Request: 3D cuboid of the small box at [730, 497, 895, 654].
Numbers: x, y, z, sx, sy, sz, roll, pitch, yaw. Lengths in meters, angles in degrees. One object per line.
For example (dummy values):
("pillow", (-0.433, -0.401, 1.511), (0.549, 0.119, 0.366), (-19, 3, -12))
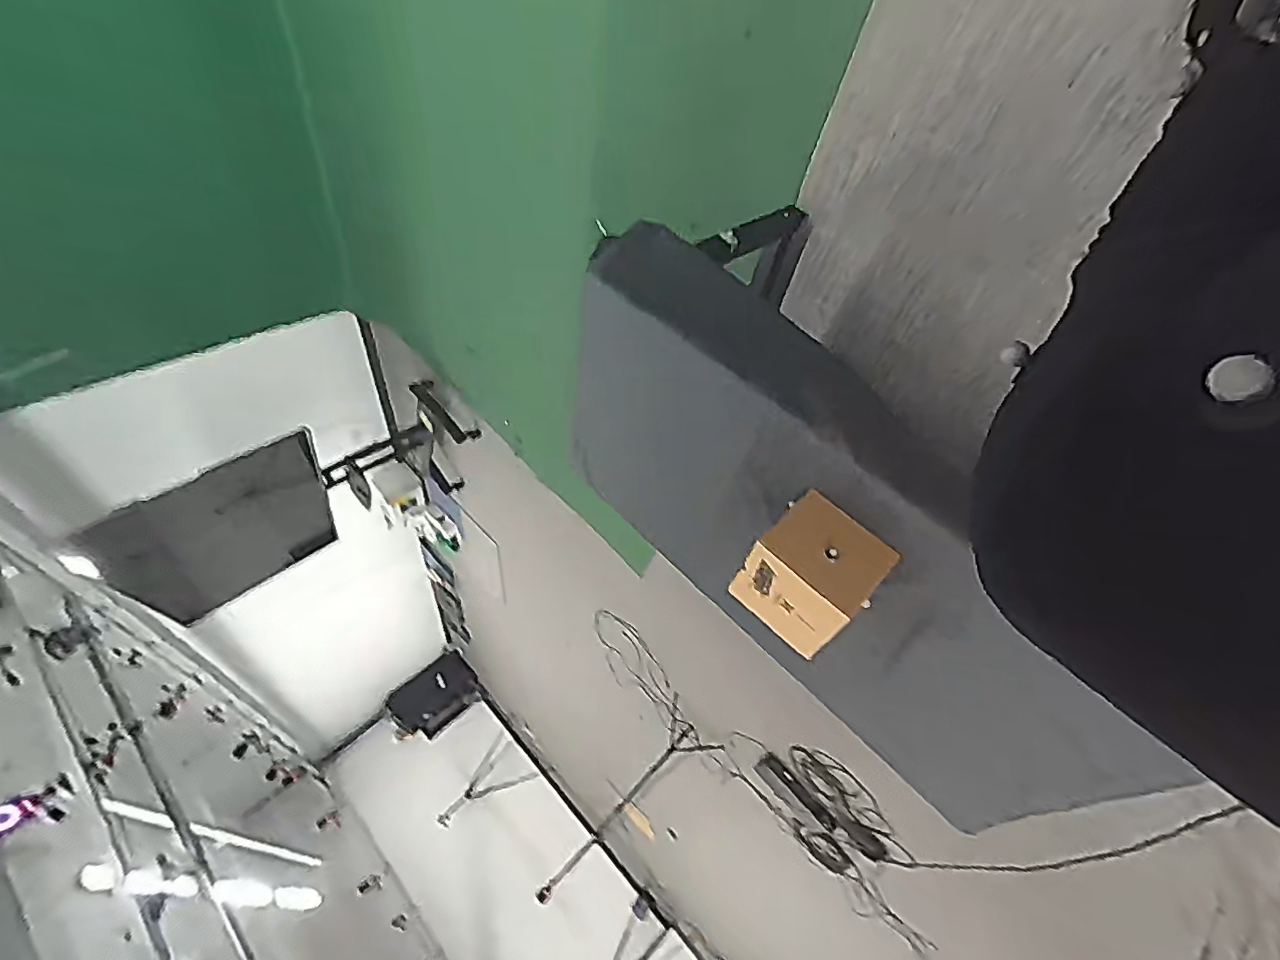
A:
("small box", (0.289, 0.153, 0.919), (0.179, 0.176, 0.168), (41, 145, 20))
